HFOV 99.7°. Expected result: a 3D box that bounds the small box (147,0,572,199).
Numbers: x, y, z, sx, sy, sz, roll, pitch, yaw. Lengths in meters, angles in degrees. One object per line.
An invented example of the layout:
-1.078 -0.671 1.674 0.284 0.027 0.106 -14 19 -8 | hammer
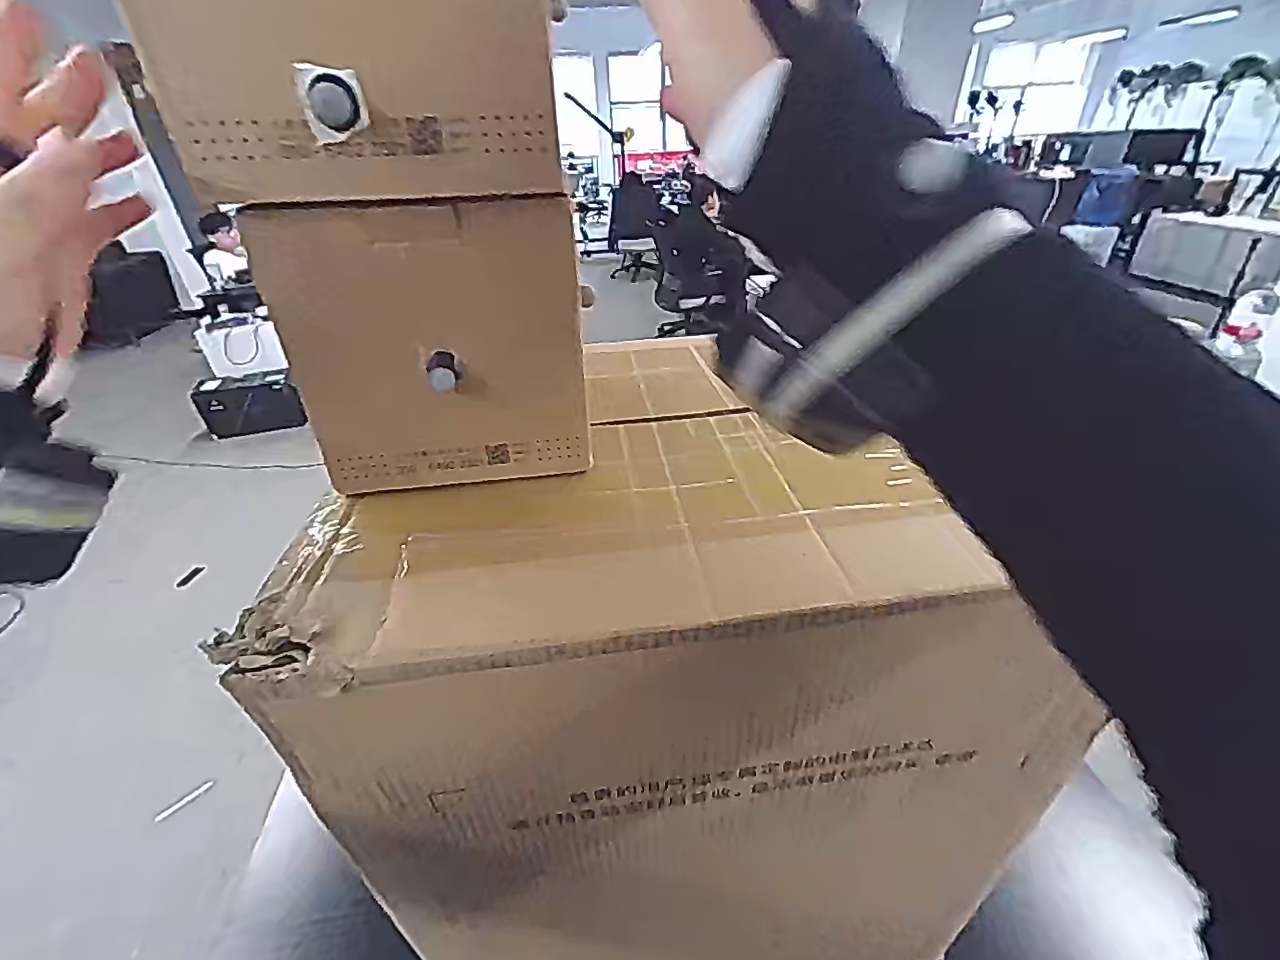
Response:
-0.129 -0.245 0.278 0.168 0.176 0.179 -8 33 -7 | small box

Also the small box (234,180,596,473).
-0.124 -0.114 0.377 0.168 0.176 0.179 -6 33 -7 | small box
